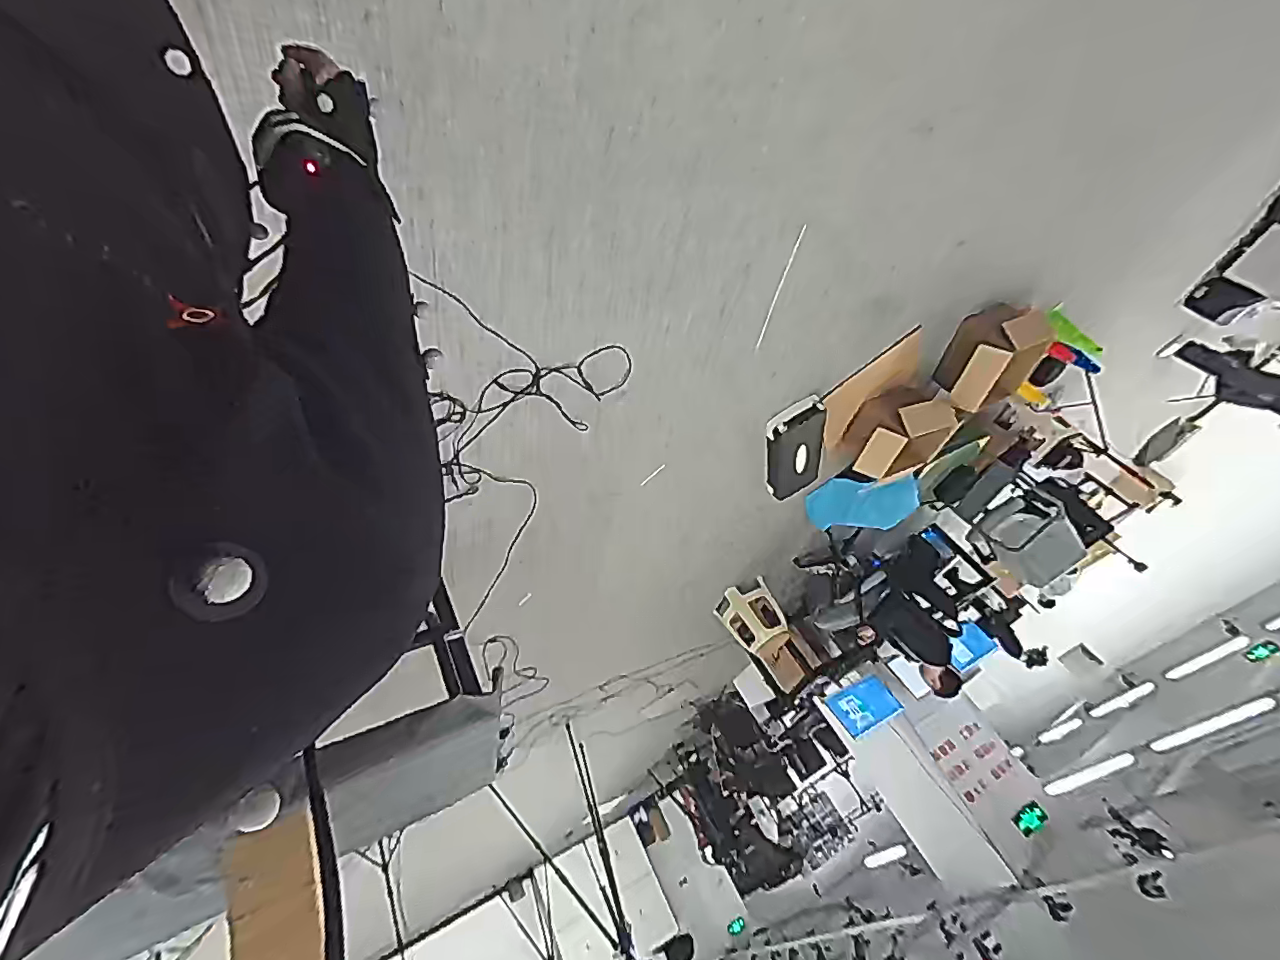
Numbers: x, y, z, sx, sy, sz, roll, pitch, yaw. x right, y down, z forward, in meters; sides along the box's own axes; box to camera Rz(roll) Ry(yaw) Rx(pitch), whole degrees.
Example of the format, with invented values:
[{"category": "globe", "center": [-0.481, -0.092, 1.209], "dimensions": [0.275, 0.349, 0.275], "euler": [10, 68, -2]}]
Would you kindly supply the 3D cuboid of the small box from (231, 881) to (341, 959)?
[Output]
[{"category": "small box", "center": [-0.805, 1.061, 1.236], "dimensions": [0.179, 0.176, 0.168], "euler": [-13, 142, -28]}]
